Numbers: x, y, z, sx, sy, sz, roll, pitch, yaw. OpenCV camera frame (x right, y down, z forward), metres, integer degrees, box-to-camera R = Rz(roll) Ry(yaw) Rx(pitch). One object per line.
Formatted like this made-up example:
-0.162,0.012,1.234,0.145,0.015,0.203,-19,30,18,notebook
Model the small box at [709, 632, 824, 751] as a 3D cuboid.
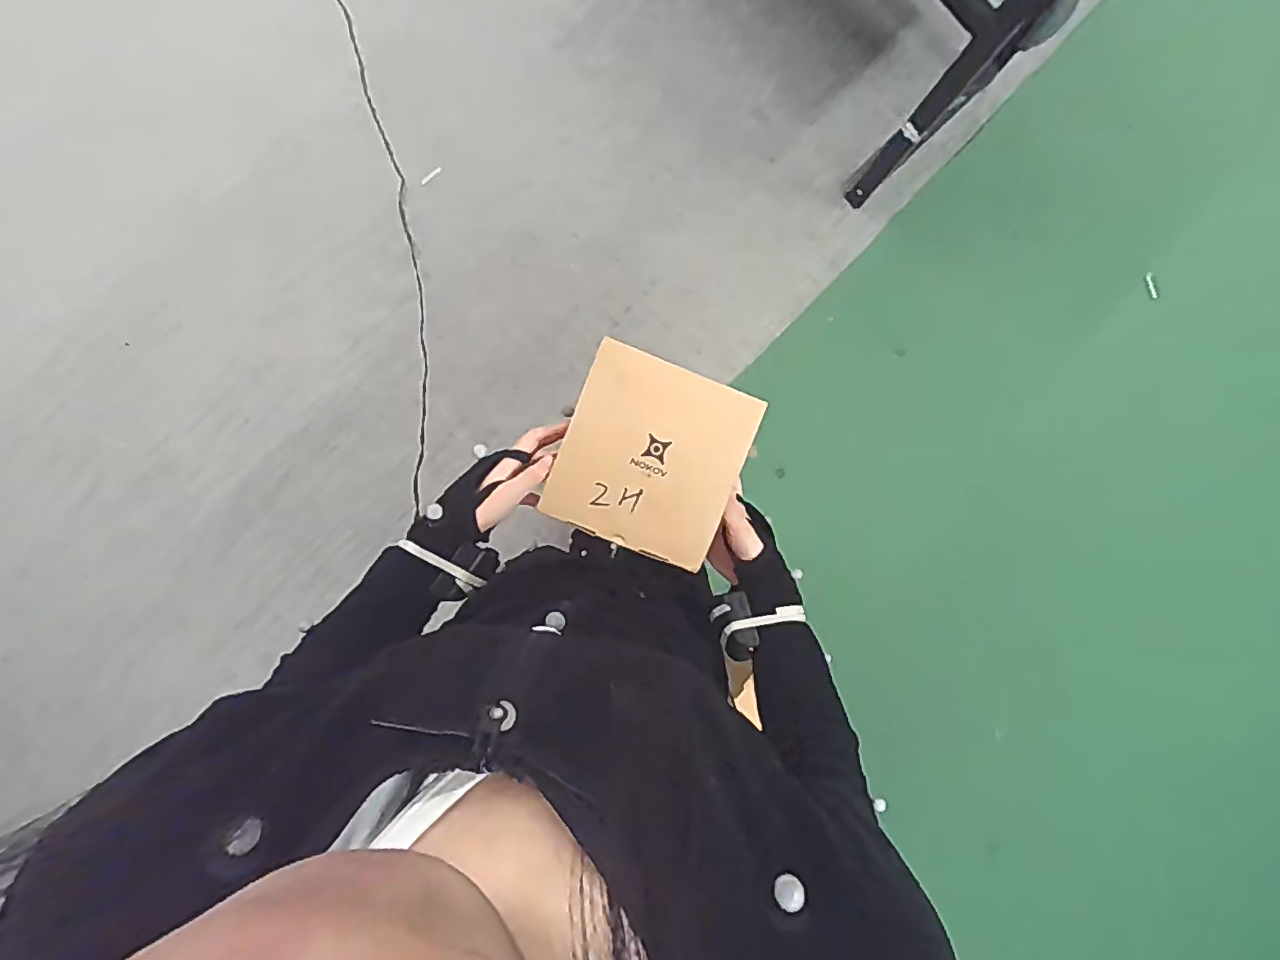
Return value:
0.290,0.487,1.277,0.179,0.176,0.168,41,87,-3,small box
